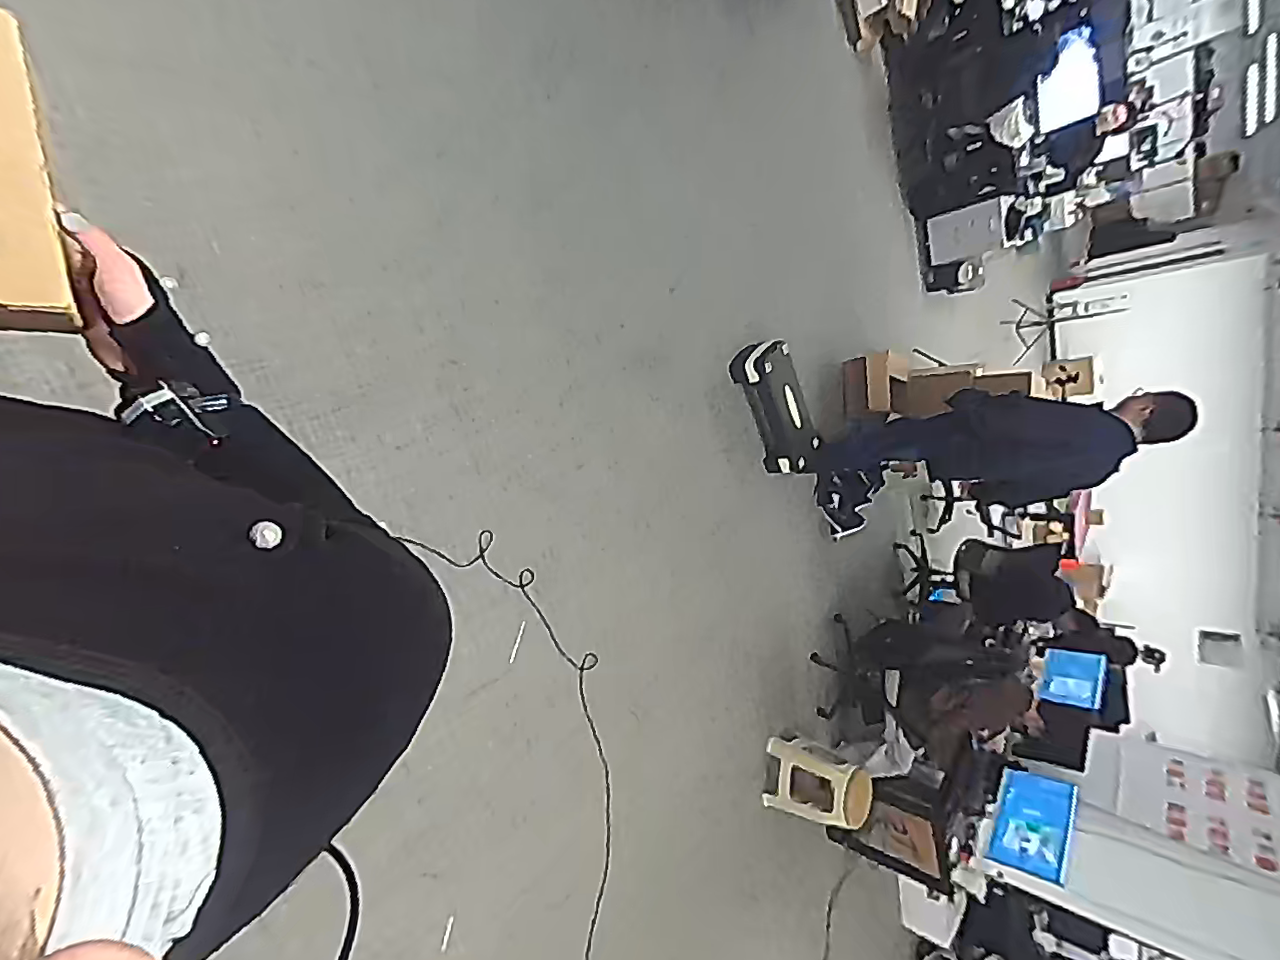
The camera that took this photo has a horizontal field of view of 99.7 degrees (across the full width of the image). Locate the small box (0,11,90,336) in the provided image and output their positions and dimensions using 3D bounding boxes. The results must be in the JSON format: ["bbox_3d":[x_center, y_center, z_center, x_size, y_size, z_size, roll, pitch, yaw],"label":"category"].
[{"bbox_3d":[-0.474,-0.186,0.337,0.168,0.176,0.179,-12,104,-44],"label":"small box"}]
